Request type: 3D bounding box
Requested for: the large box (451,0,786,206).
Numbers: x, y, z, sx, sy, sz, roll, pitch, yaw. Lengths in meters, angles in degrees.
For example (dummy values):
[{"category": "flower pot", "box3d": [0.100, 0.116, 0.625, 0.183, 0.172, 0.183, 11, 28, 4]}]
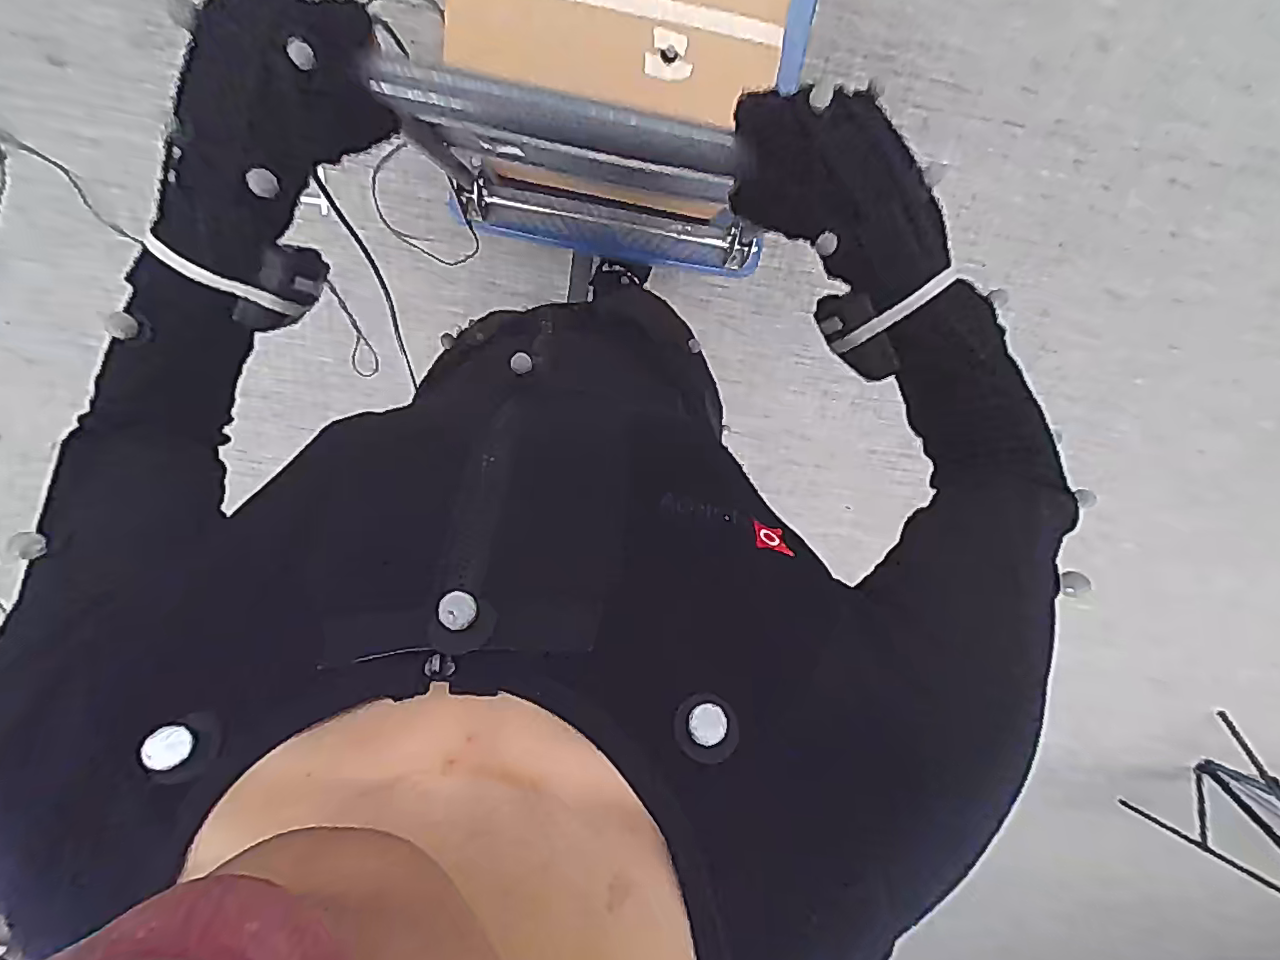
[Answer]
[{"category": "large box", "box3d": [-0.031, -0.632, 0.796, 0.408, 0.320, 0.320, 8, 107, -7]}]
